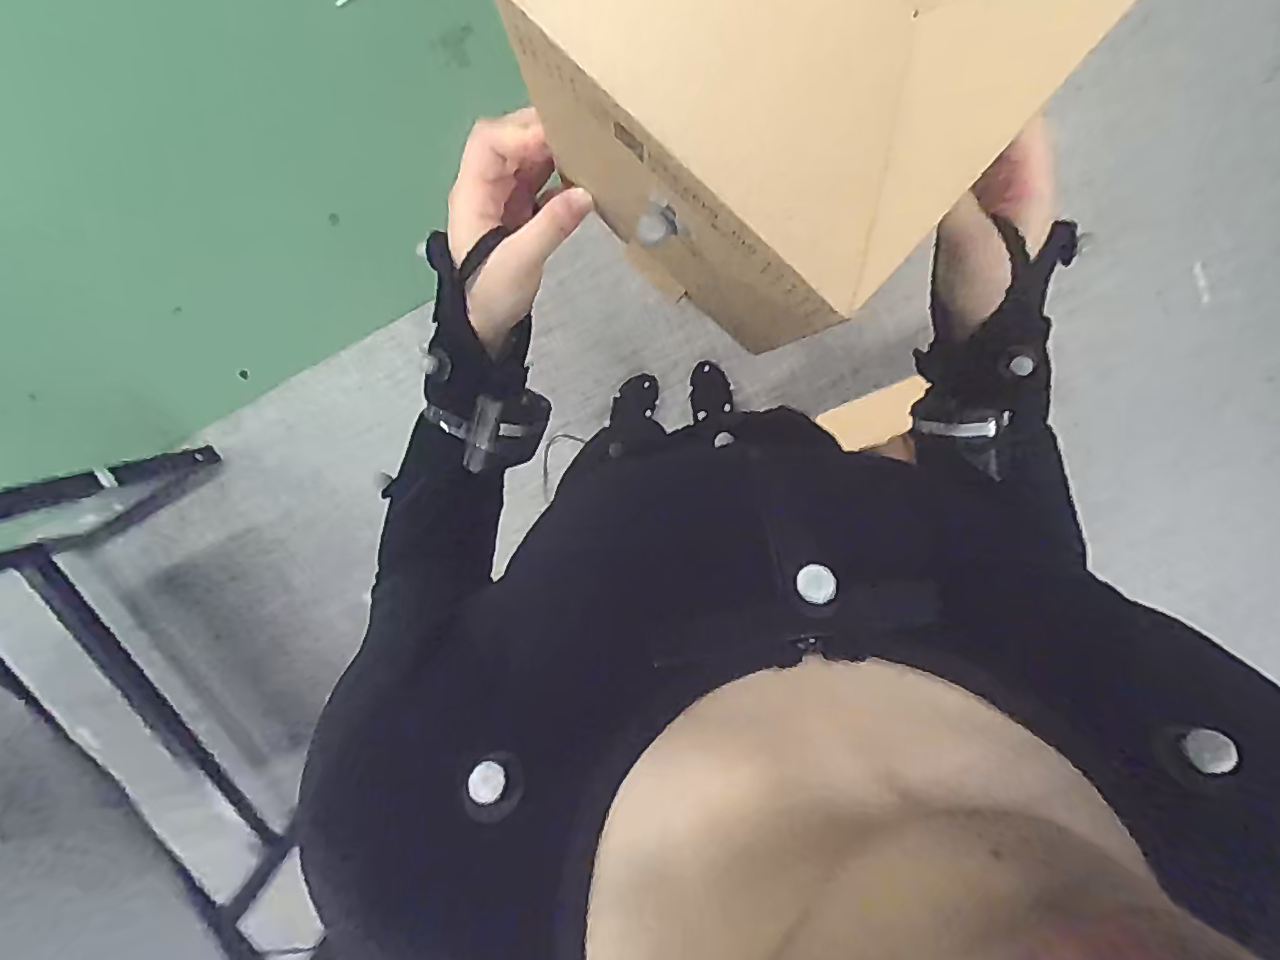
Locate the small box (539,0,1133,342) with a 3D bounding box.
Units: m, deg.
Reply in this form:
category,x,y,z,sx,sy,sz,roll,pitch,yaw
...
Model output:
category,x,y,z,sx,sy,sz,roll,pitch,yaw
small box,0.076,-0.190,0.256,0.168,0.176,0.179,39,96,-5
